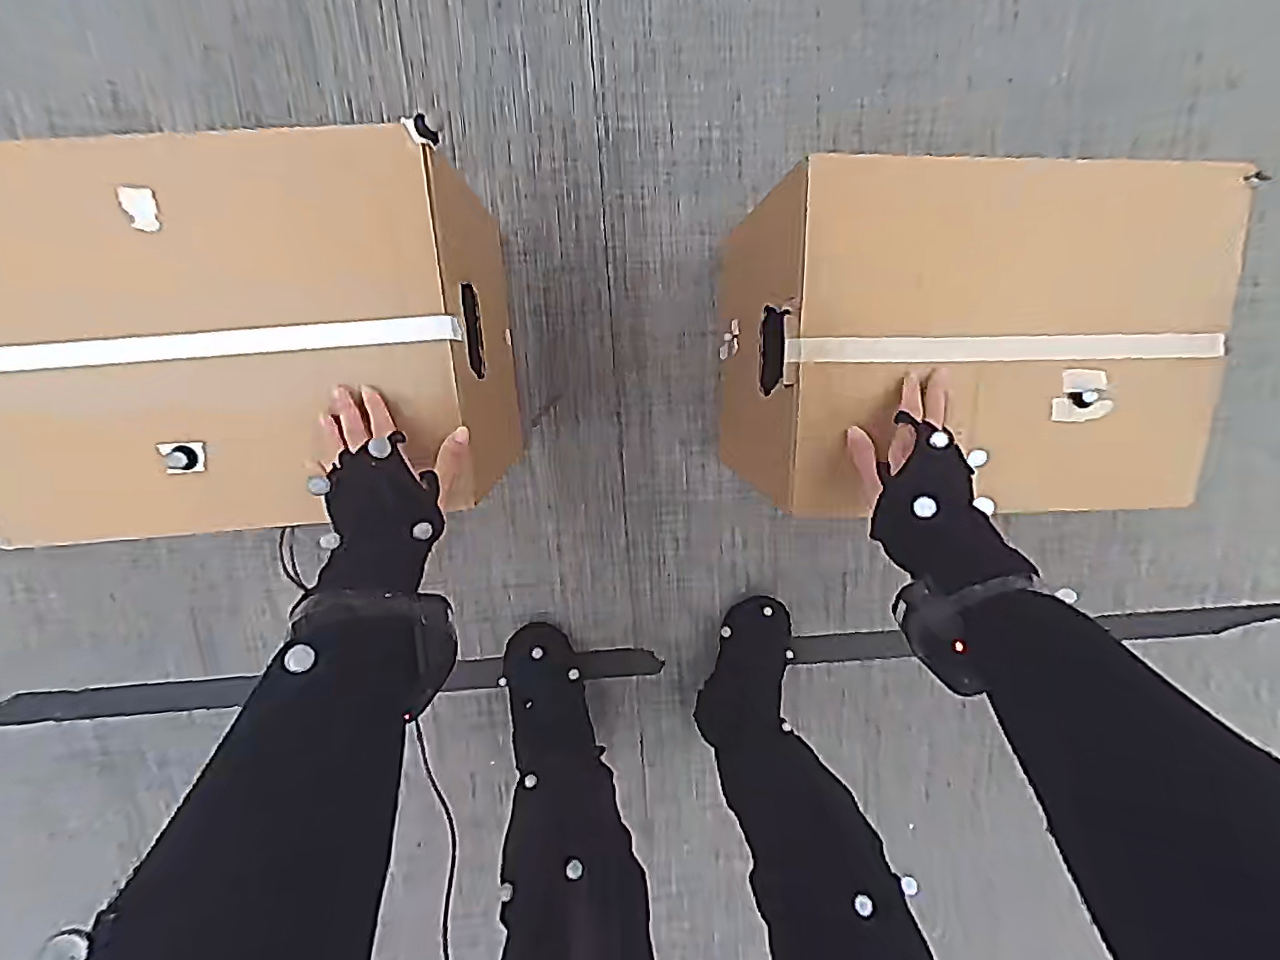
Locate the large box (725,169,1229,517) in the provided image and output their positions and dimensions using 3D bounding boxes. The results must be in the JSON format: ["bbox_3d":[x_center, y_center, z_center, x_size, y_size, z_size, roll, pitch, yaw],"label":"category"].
[{"bbox_3d":[0.330,-0.148,0.650,0.408,0.320,0.320,-1,102,-5],"label":"large box"}]
